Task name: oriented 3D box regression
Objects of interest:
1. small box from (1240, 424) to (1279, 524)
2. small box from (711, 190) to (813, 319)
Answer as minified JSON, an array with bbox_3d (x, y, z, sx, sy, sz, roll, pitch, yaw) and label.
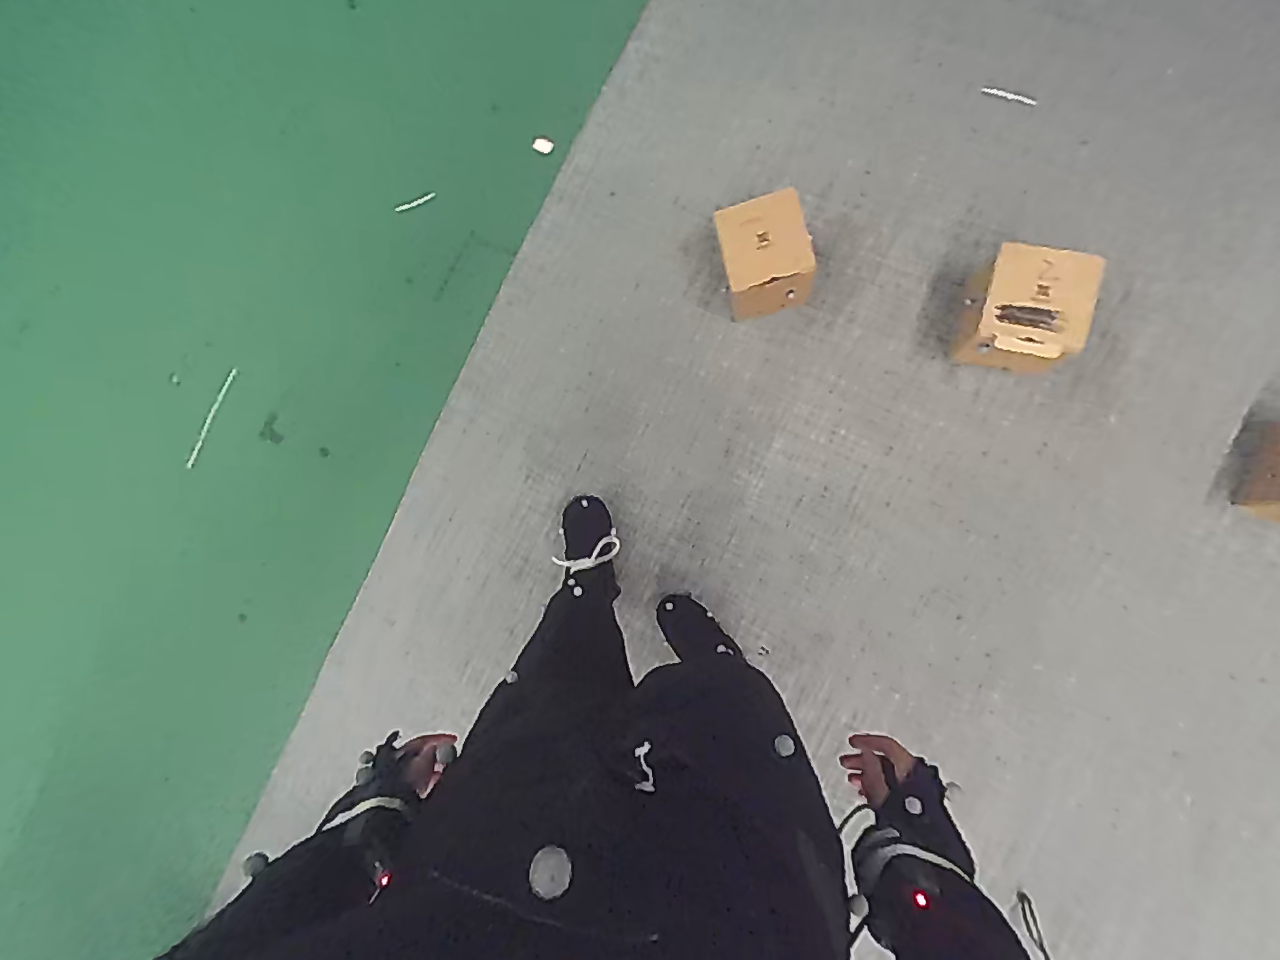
[{"bbox_3d":[1.174,-0.003,0.891,0.168,0.176,0.179,25,91,13],"label":"small box"},{"bbox_3d":[0.253,-0.455,1.130,0.168,0.176,0.179,-14,82,10],"label":"small box"}]
